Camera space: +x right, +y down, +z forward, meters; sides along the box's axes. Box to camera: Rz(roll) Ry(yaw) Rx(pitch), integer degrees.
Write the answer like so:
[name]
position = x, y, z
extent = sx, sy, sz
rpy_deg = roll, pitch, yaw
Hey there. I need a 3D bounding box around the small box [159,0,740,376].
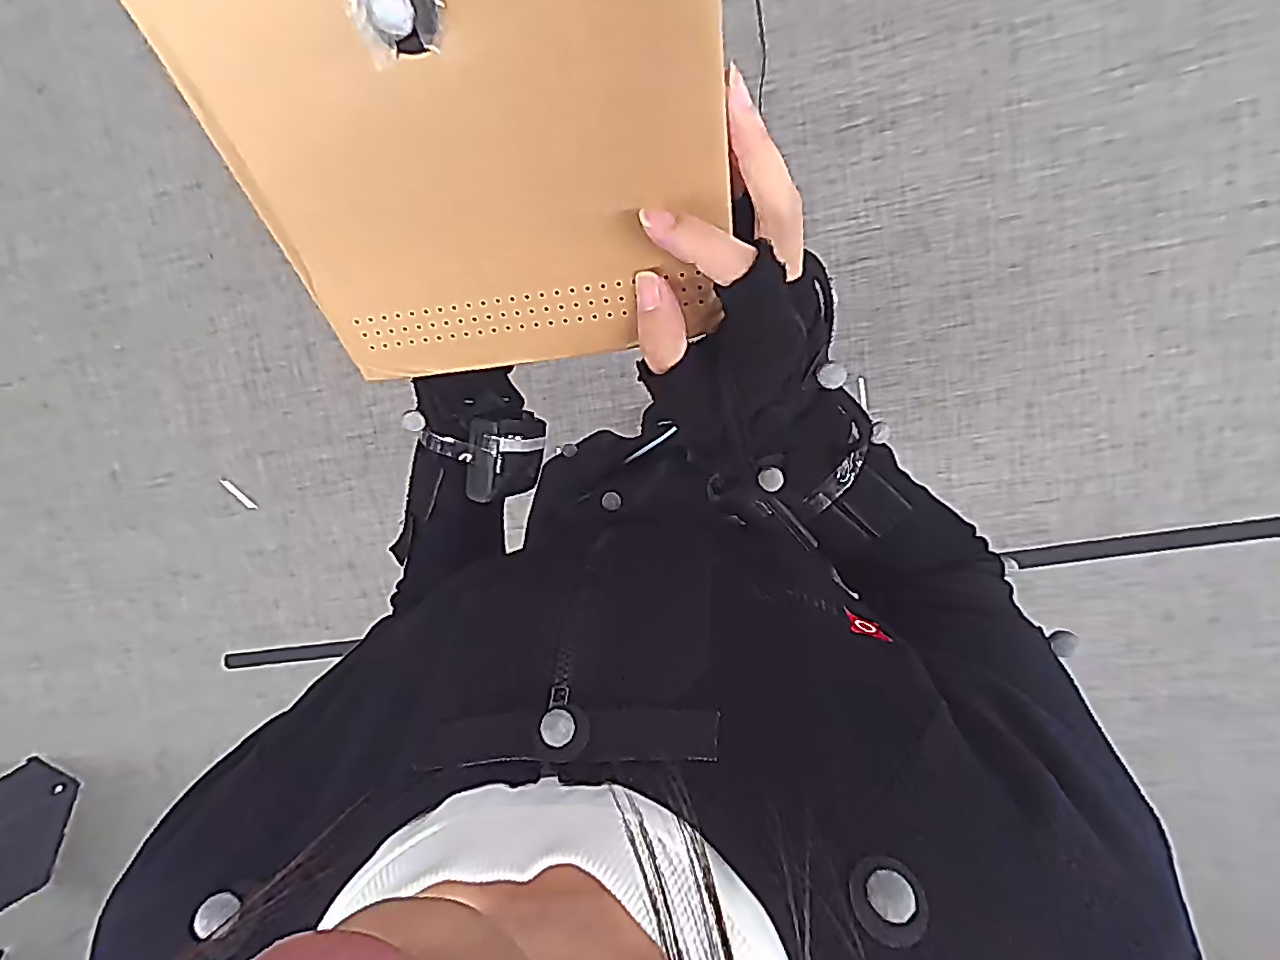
[small box]
position = -0.051, -0.163, 0.247
extent = 0.179, 0.168, 0.176
rpy_deg = -5, 137, 9
